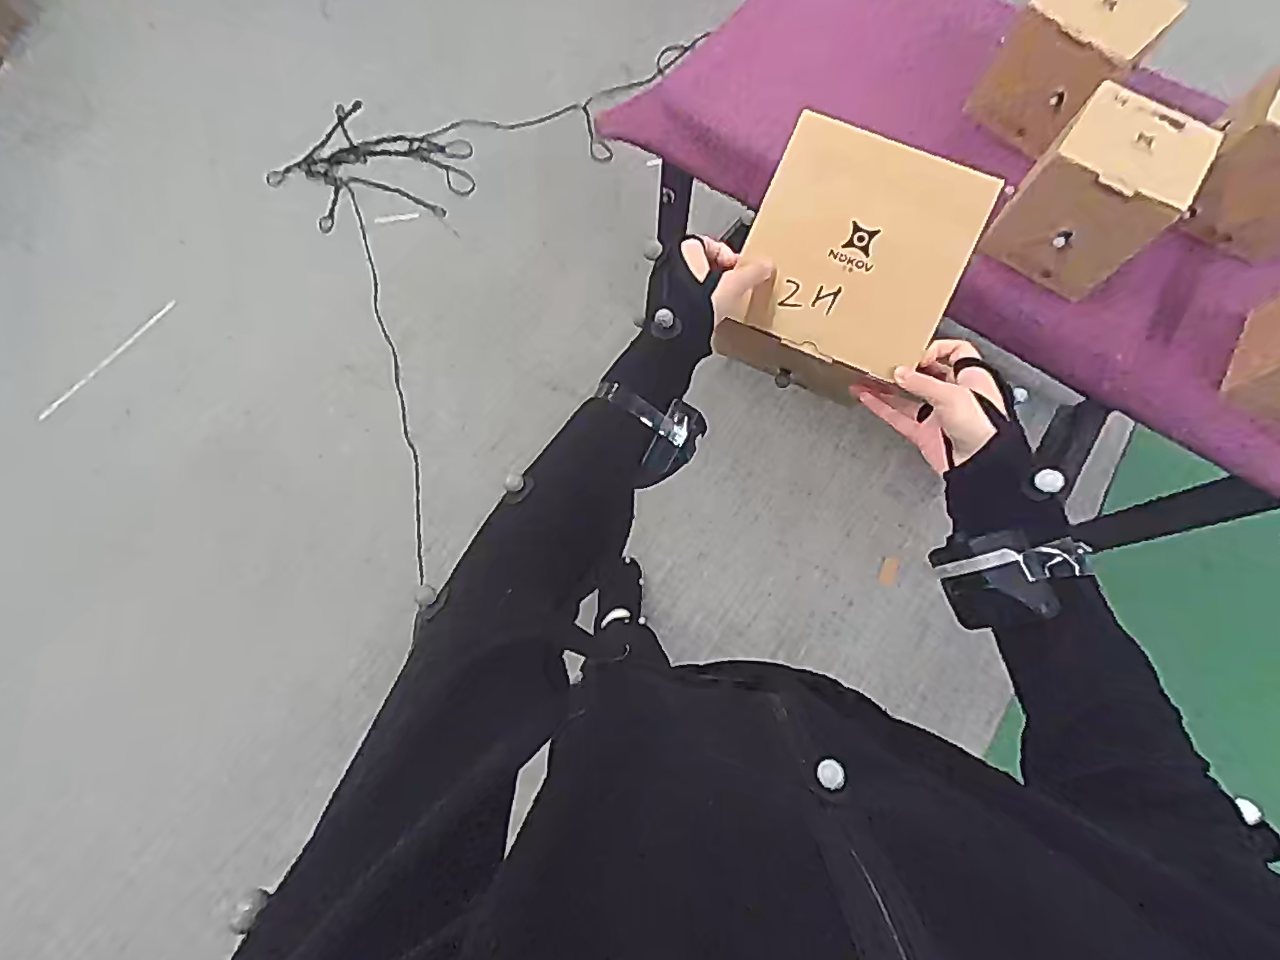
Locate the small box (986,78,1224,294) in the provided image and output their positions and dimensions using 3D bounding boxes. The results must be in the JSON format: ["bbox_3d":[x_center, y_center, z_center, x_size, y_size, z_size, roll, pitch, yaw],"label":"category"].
[{"bbox_3d":[0.635,-0.402,0.763,0.168,0.176,0.179,36,74,10],"label":"small box"}]

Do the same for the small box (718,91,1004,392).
[{"bbox_3d":[0.179,-0.198,0.503,0.168,0.176,0.179,25,96,6],"label":"small box"}]

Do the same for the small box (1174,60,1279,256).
[{"bbox_3d":[0.928,-0.469,0.790,0.168,0.176,0.179,34,73,10],"label":"small box"}]

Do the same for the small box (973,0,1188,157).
[{"bbox_3d":[0.670,-0.658,0.851,0.179,0.176,0.168,-42,78,-13],"label":"small box"}]
